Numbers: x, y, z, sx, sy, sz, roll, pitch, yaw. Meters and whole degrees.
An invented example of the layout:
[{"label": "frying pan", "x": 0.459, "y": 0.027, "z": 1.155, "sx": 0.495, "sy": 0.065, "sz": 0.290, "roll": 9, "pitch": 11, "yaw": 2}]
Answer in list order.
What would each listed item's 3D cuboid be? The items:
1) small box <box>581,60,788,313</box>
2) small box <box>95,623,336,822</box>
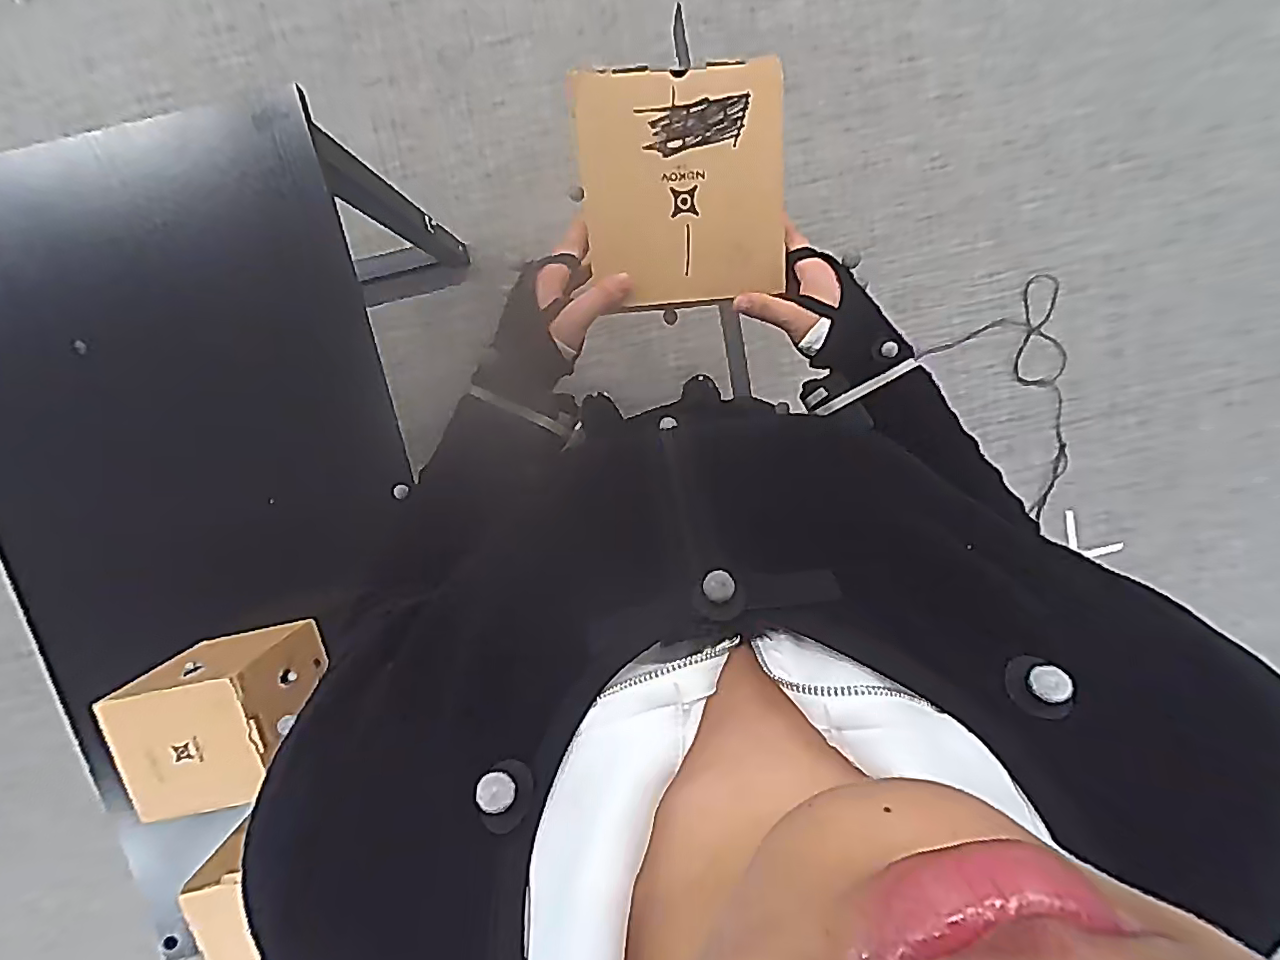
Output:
[{"label": "small box", "x": 0.033, "y": -0.258, "z": 0.515, "sx": 0.168, "sy": 0.176, "sz": 0.179, "roll": -5, "pitch": 106, "yaw": -2}, {"label": "small box", "x": -0.542, "y": 0.310, "z": 0.725, "sx": 0.179, "sy": 0.176, "sz": 0.168, "roll": -12, "pitch": 98, "yaw": 2}]
